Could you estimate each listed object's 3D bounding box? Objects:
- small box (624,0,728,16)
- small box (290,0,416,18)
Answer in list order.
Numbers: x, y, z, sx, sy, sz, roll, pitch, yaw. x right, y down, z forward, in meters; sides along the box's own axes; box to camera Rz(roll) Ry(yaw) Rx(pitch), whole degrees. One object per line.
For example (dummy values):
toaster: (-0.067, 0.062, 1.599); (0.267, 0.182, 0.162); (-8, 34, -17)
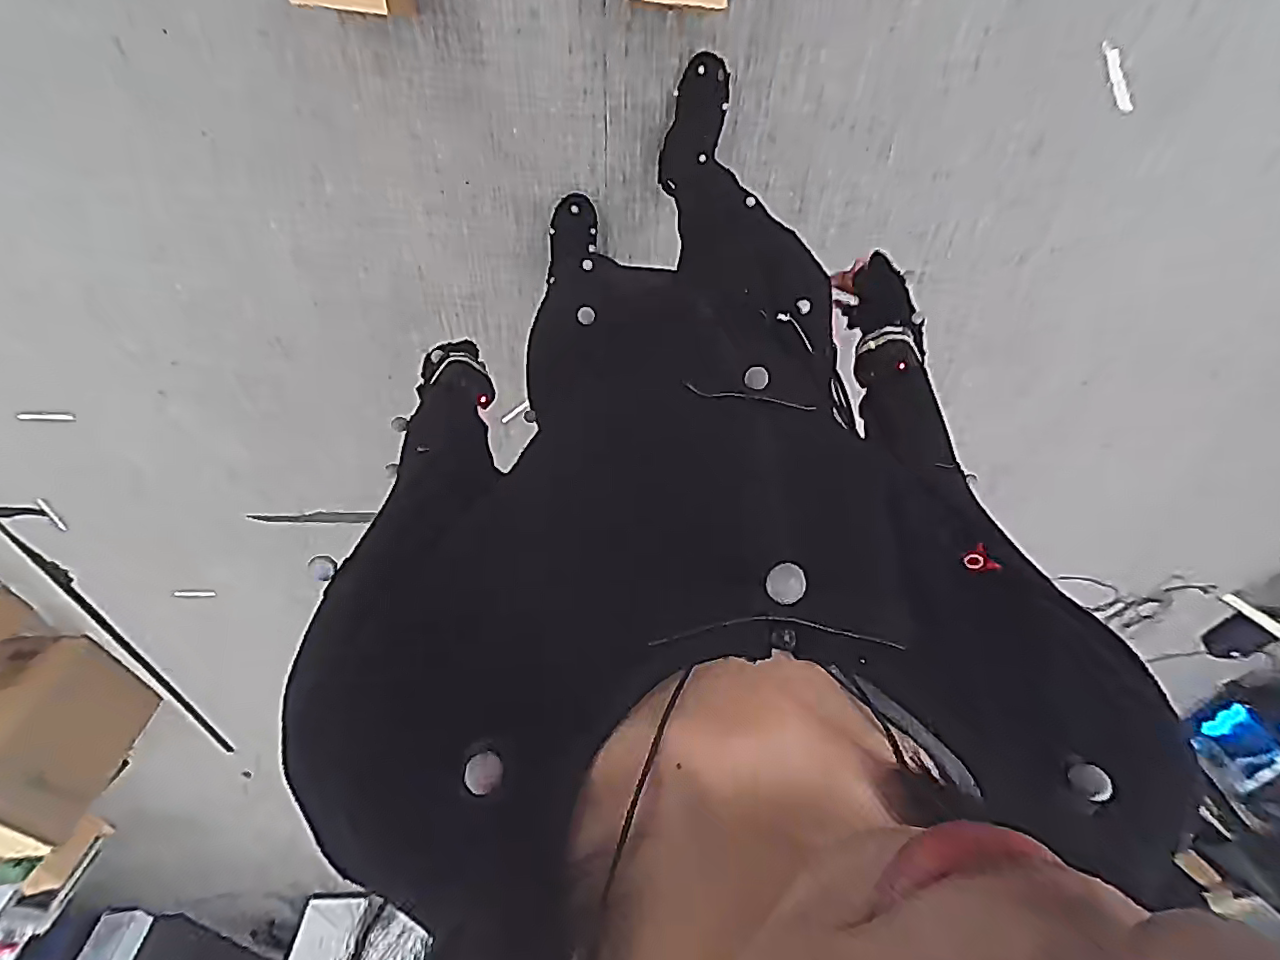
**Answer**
small box: (0.064, -0.918, 0.930); (0.179, 0.176, 0.168); (2, 129, -5)
small box: (-0.500, -0.910, 0.918); (0.168, 0.176, 0.179); (4, 130, -3)
